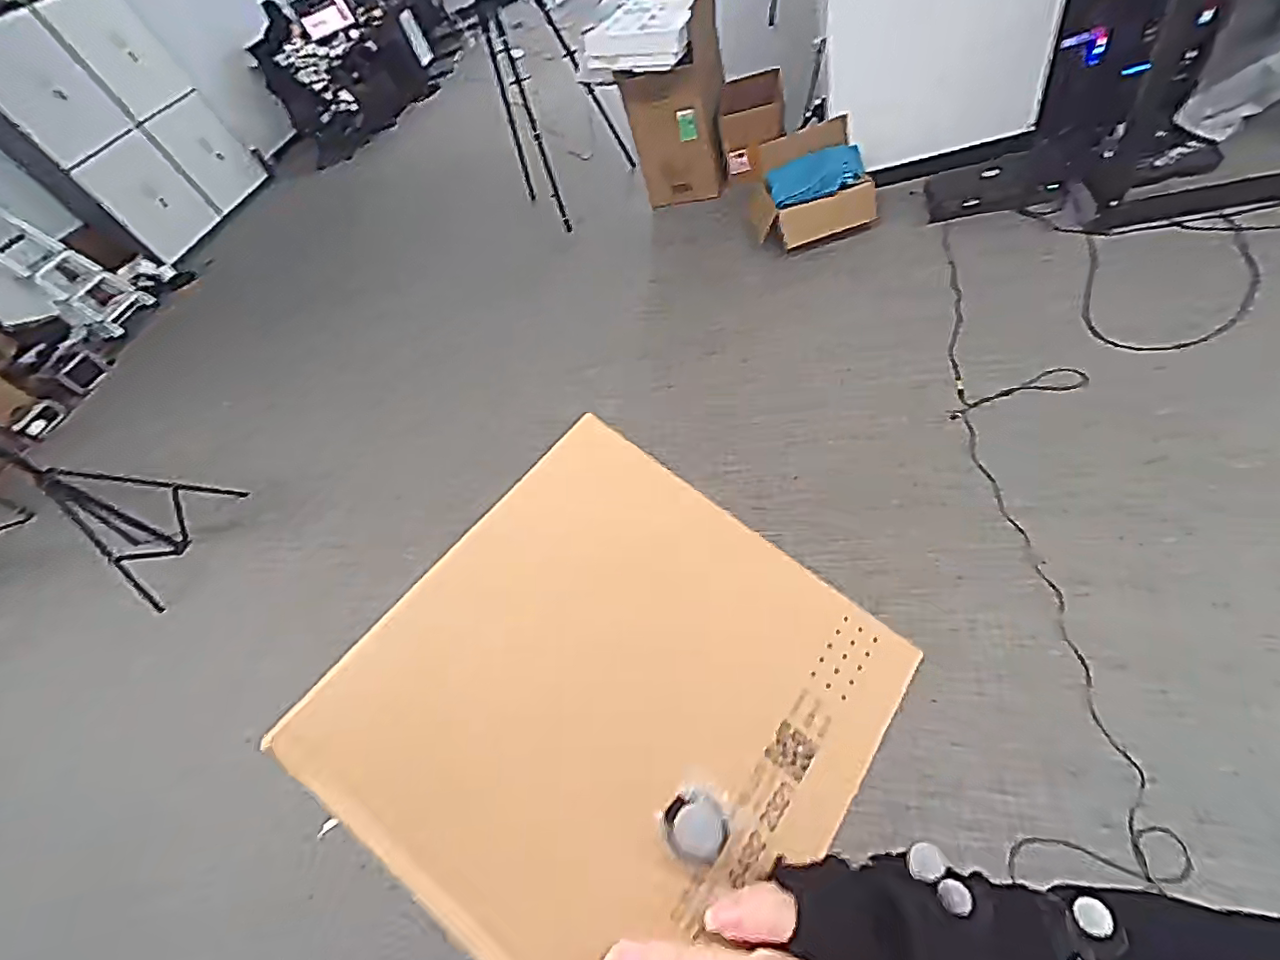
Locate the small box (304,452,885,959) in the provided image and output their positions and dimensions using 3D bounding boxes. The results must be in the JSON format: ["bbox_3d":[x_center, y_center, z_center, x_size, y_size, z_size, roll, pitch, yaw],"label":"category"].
[{"bbox_3d":[-0.013,0.124,0.281,0.176,0.179,0.168,35,67,12],"label":"small box"}]
